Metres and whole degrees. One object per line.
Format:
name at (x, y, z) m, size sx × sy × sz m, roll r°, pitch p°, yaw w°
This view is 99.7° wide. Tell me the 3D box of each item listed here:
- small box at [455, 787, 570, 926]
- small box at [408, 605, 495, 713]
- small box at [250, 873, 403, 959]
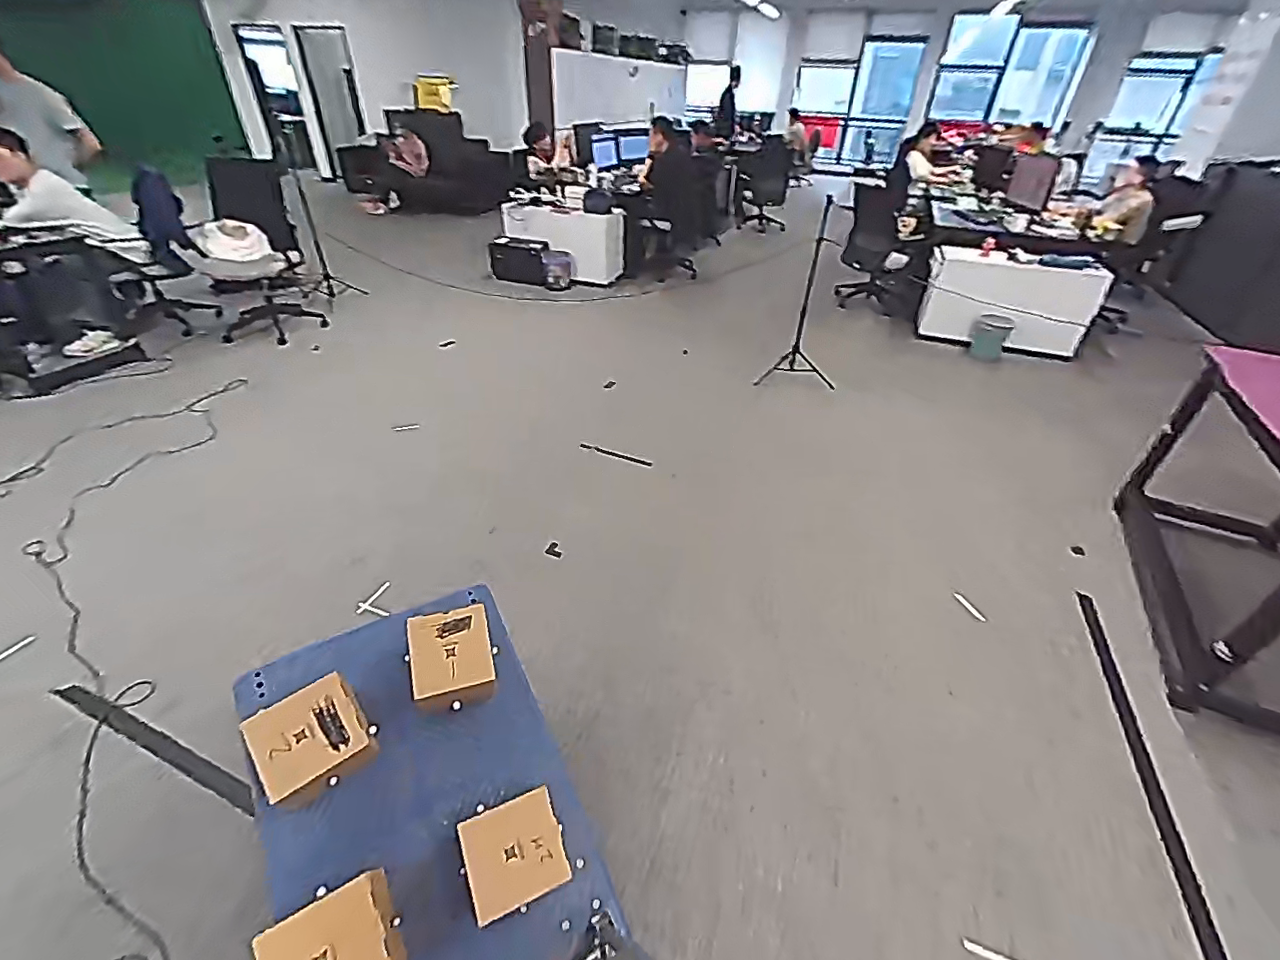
small box at (-0.252, 0.731, 1.062) m, size 0.179 × 0.176 × 0.168 m, roll -13°, pitch 63°, yaw -23°
small box at (-0.427, 0.407, 1.227) m, size 0.168 × 0.176 × 0.179 m, roll -8°, pitch 61°, yaw -20°
small box at (-0.528, 0.814, 0.929) m, size 0.179 × 0.176 × 0.168 m, roll -19°, pitch 64°, yaw -27°
